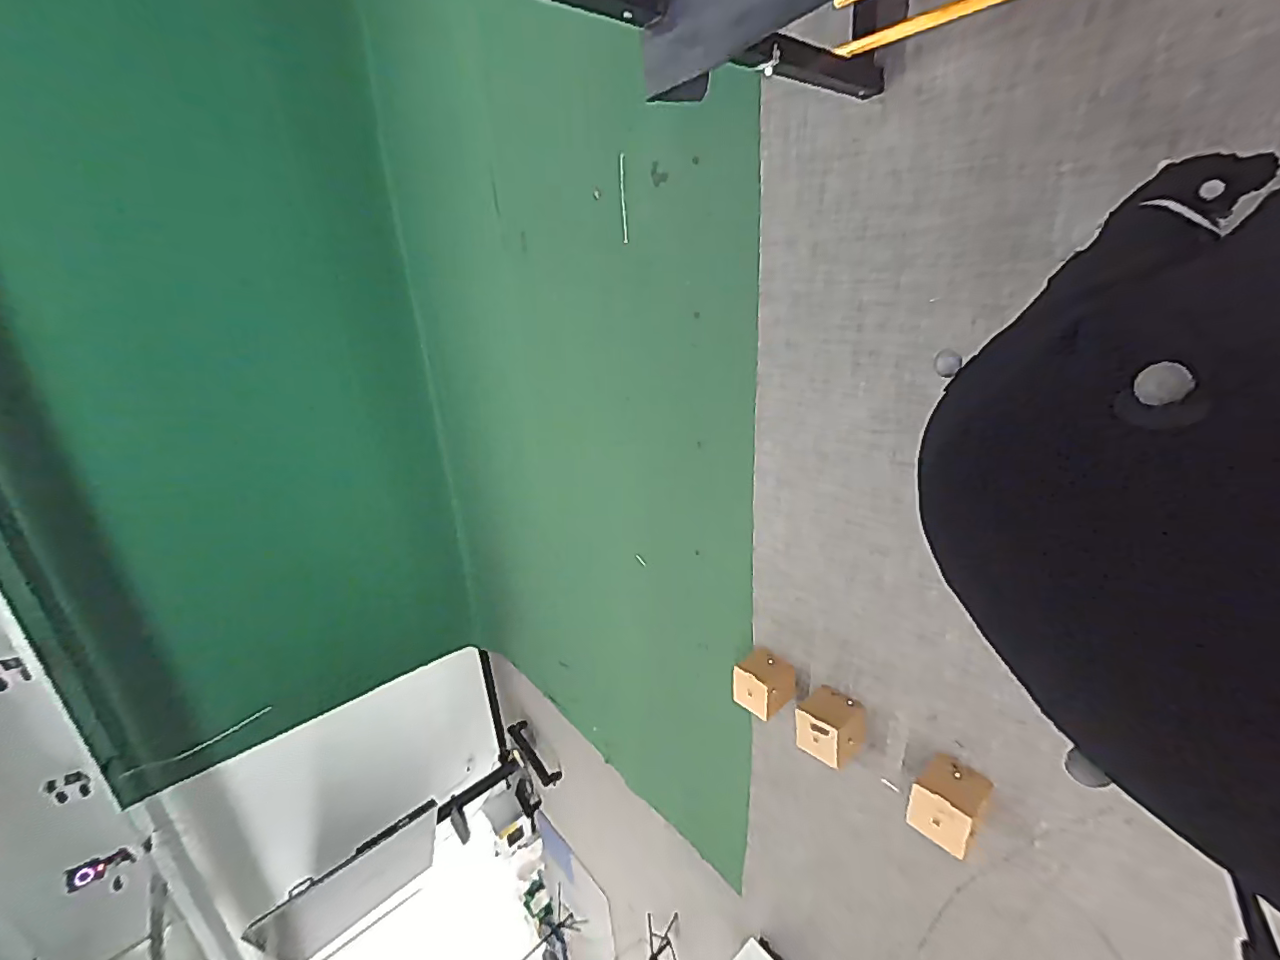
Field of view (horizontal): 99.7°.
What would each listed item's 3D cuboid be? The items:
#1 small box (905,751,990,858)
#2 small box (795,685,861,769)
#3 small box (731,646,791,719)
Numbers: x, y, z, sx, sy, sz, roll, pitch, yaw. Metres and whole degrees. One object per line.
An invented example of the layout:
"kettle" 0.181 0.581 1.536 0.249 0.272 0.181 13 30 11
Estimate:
"small box" 0.930 0.972 1.633 0.168 0.176 0.179 21 120 45
"small box" 0.669 0.868 1.921 0.168 0.176 0.179 15 117 48
"small box" 0.479 0.793 2.131 0.168 0.176 0.179 19 120 46
